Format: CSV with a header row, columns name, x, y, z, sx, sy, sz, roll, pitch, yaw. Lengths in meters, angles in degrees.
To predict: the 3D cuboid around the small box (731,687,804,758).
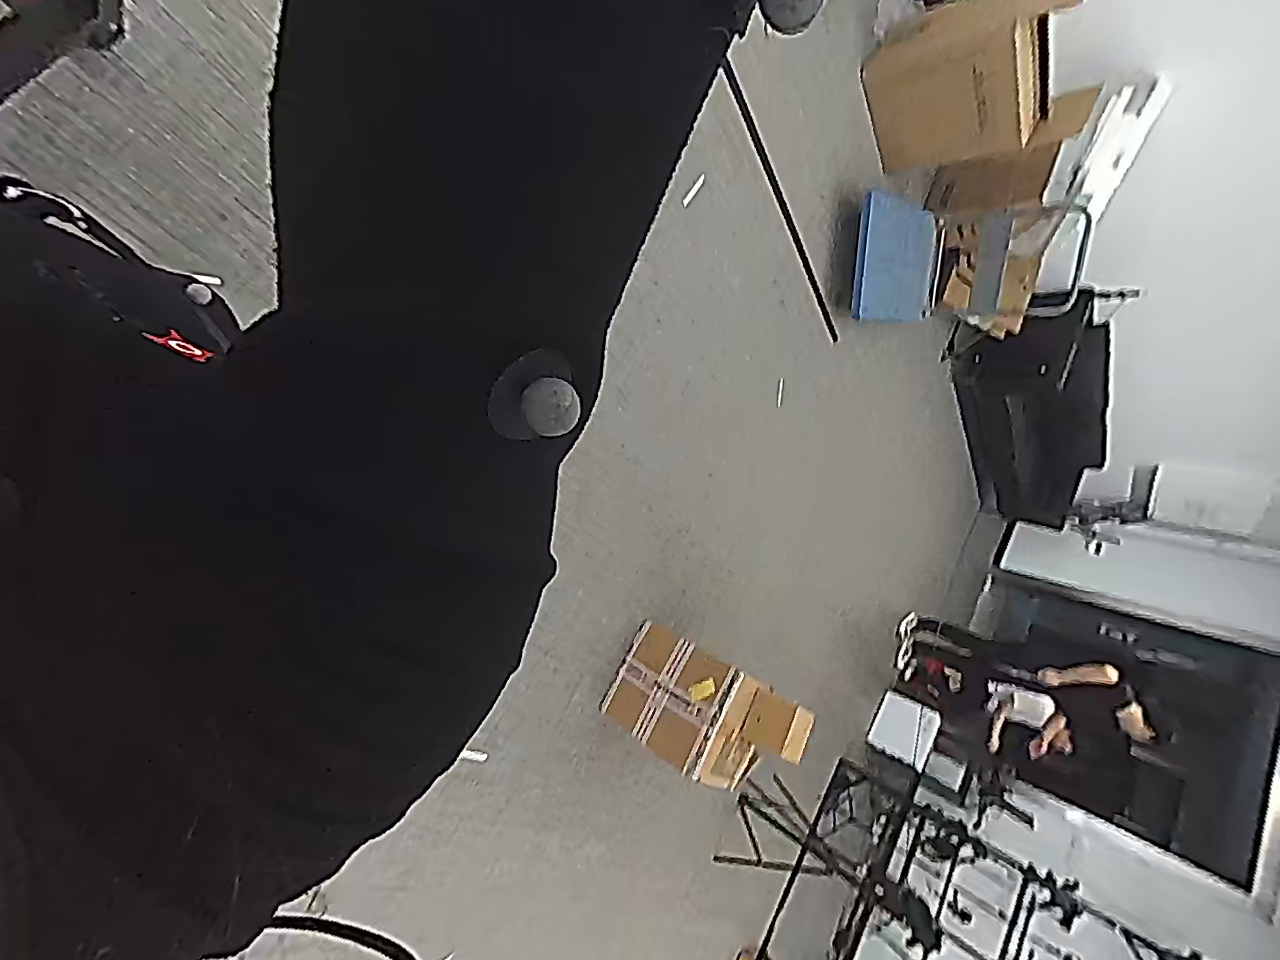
name,x,y,z,sx,sy,sz,roll,pitch,yaw
small box,0.464,0.880,1.949,0.168,0.176,0.179,42,69,-42
